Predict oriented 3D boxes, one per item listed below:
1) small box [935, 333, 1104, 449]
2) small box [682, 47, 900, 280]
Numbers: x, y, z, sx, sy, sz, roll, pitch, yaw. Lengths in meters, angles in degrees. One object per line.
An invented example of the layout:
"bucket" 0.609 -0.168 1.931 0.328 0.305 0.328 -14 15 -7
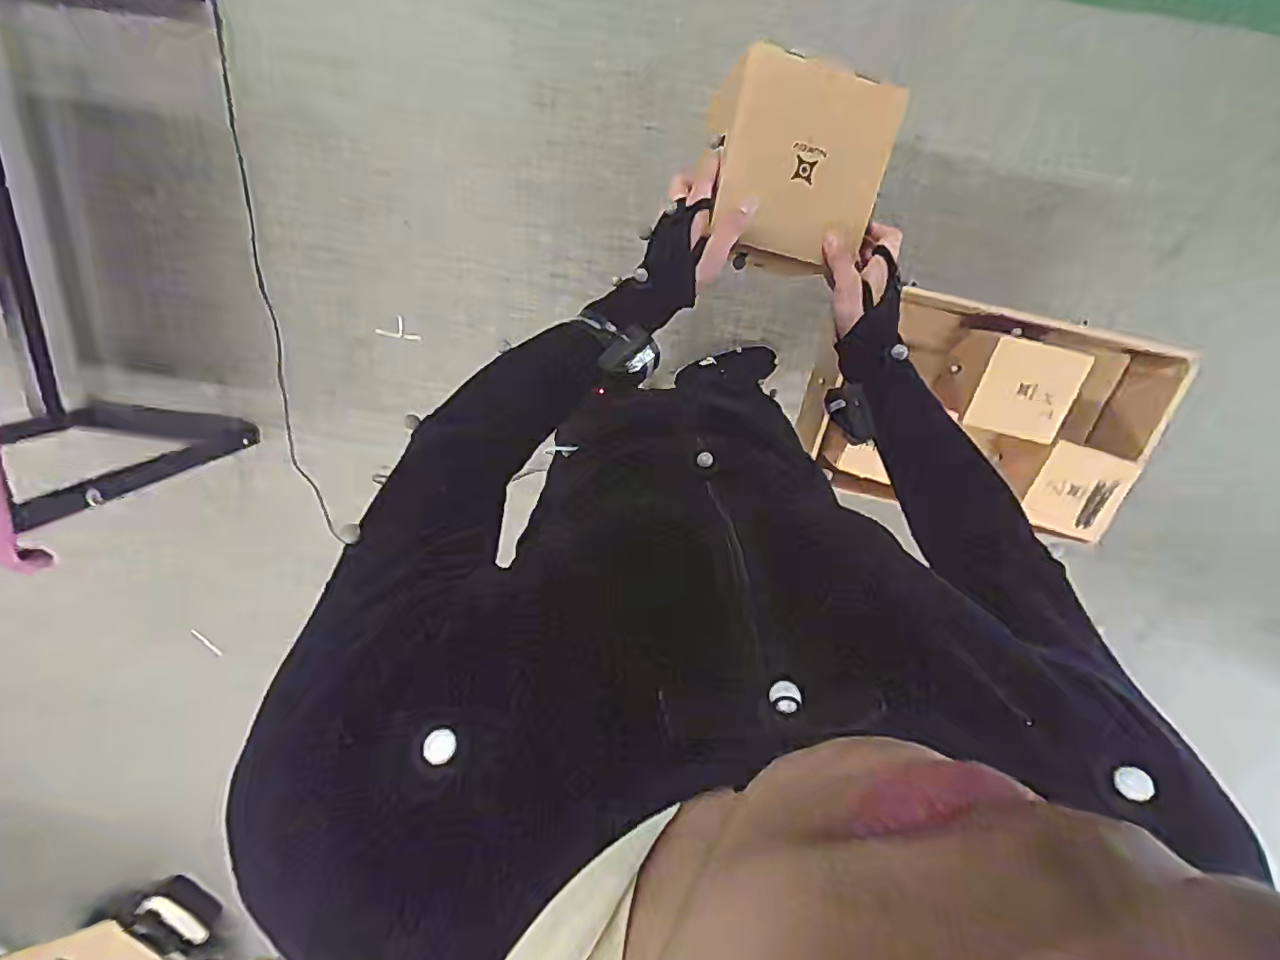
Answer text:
"small box" 0.702 -0.176 1.029 0.179 0.176 0.168 14 111 -1
"small box" 0.151 -0.333 0.611 0.168 0.176 0.179 9 107 -8
